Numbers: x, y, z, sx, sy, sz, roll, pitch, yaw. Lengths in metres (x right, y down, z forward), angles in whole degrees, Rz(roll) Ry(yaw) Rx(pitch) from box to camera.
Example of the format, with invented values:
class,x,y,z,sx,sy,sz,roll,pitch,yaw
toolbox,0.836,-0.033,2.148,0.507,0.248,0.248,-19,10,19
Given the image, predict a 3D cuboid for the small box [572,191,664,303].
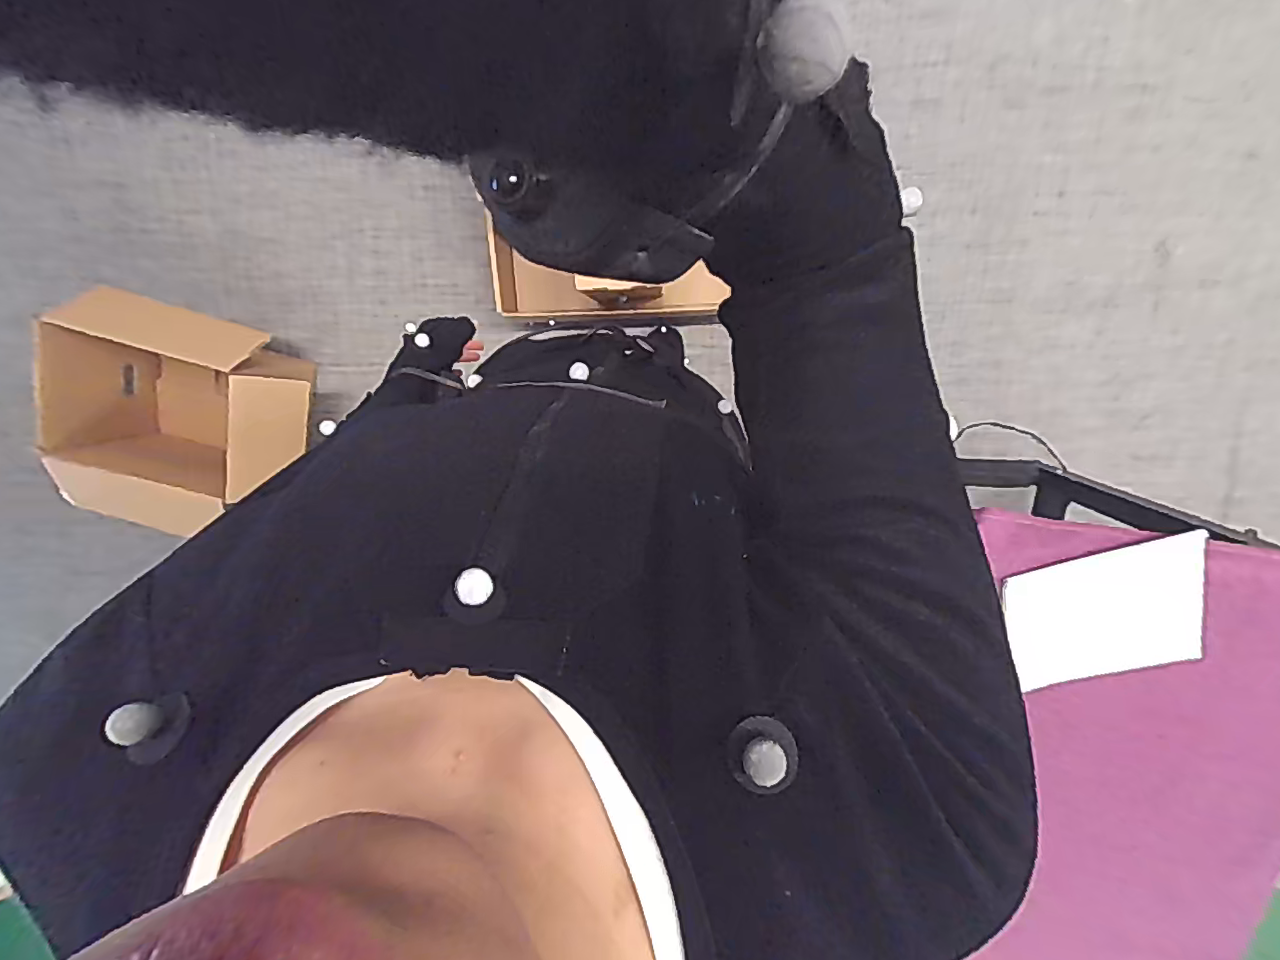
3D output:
class,x,y,z,sx,sy,sz,roll,pitch,yaw
small box,-0.038,-0.449,1.063,0.168,0.176,0.179,-2,105,2
